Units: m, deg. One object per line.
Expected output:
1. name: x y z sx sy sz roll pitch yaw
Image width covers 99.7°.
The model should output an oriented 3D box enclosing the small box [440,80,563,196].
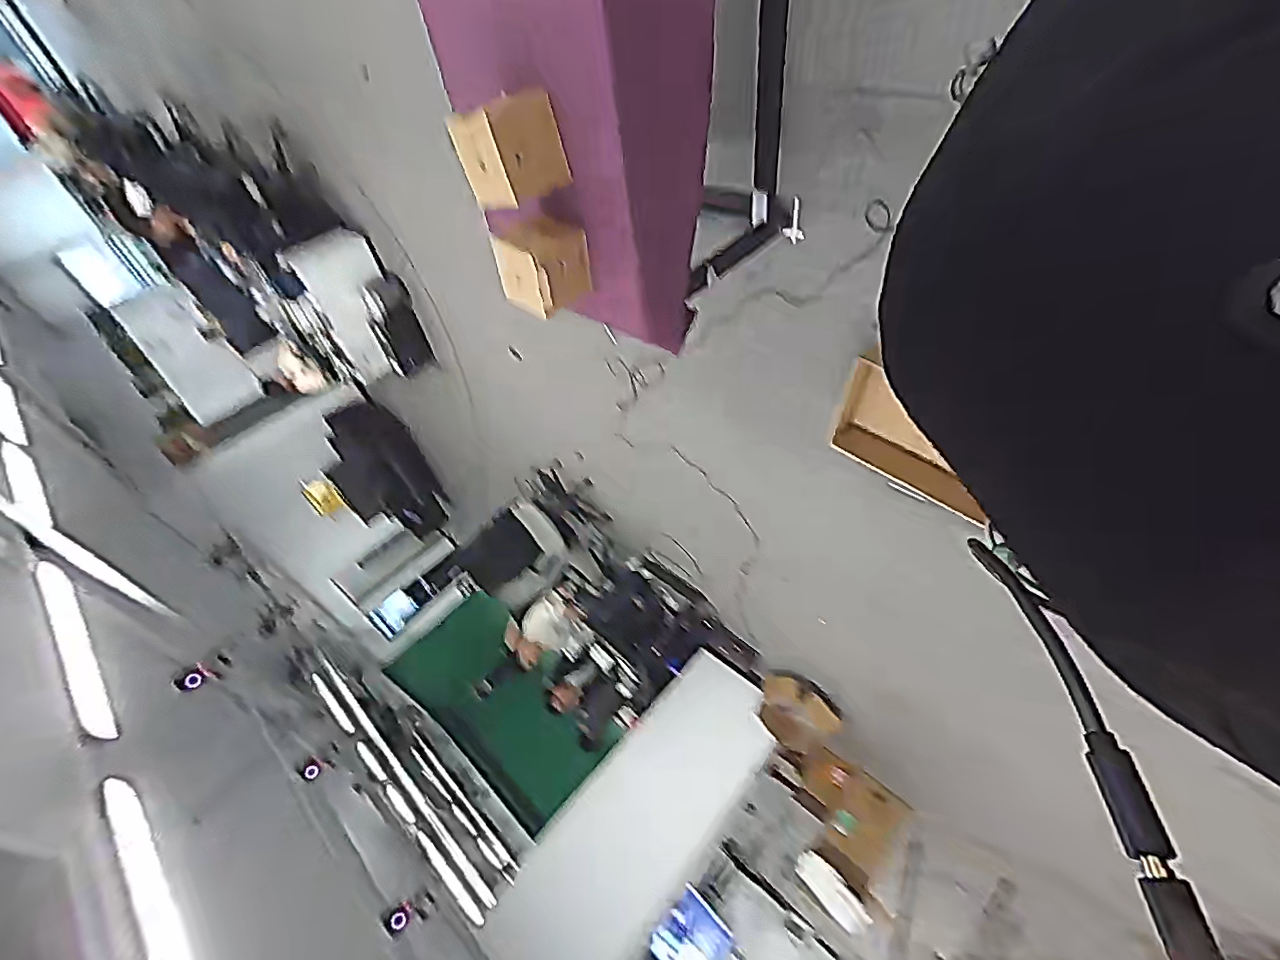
1. small box: -0.297 -0.750 1.192 0.168 0.176 0.179 25 144 39

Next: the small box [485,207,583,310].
1. small box: -0.259 -0.570 1.377 0.179 0.176 0.168 34 149 27
